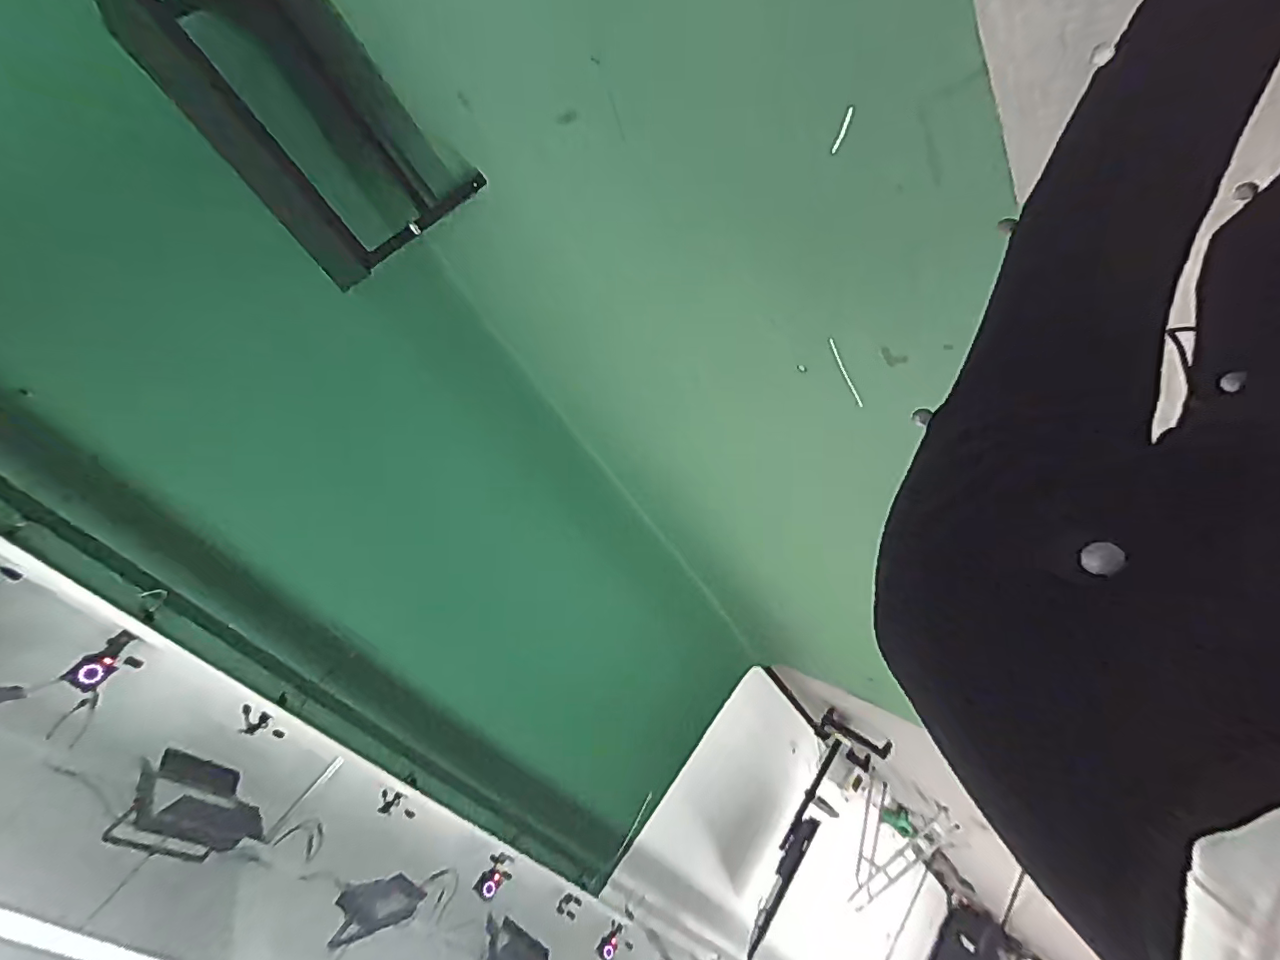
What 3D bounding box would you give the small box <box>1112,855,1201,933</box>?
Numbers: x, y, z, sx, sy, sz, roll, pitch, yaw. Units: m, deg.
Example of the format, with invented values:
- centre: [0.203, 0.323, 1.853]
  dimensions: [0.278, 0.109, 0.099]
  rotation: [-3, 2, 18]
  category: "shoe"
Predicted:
- centre: [1.636, 1.263, 1.710]
  dimensions: [0.179, 0.176, 0.168]
  rotation: [51, 156, -25]
  category: "small box"
